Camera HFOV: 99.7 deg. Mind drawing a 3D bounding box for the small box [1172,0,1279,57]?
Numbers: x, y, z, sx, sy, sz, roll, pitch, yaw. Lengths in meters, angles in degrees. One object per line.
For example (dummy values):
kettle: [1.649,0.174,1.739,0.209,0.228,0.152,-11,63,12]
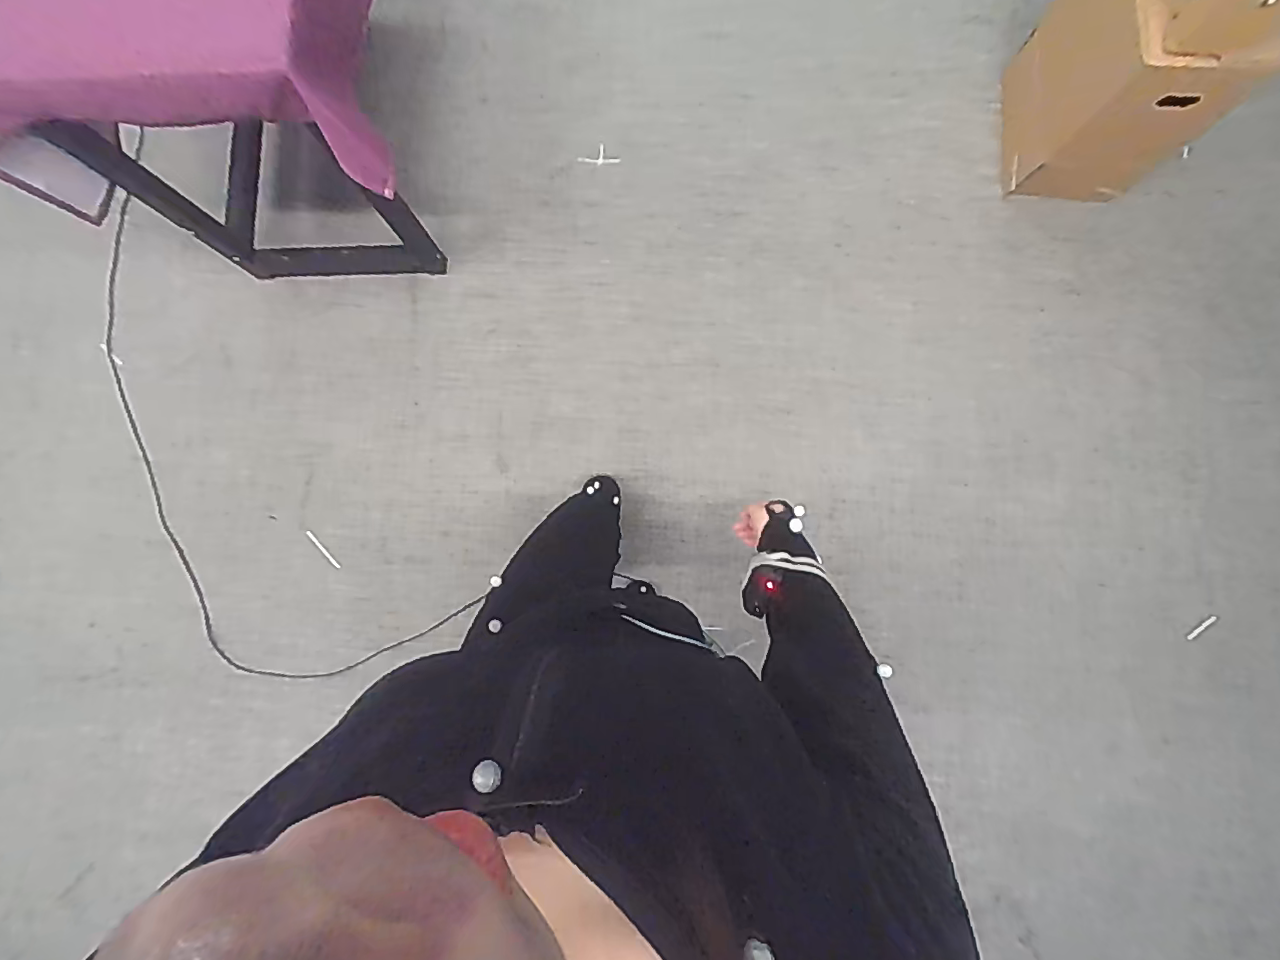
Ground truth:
small box: [1.207,-0.978,1.063,0.179,0.176,0.168,6,83,1]
